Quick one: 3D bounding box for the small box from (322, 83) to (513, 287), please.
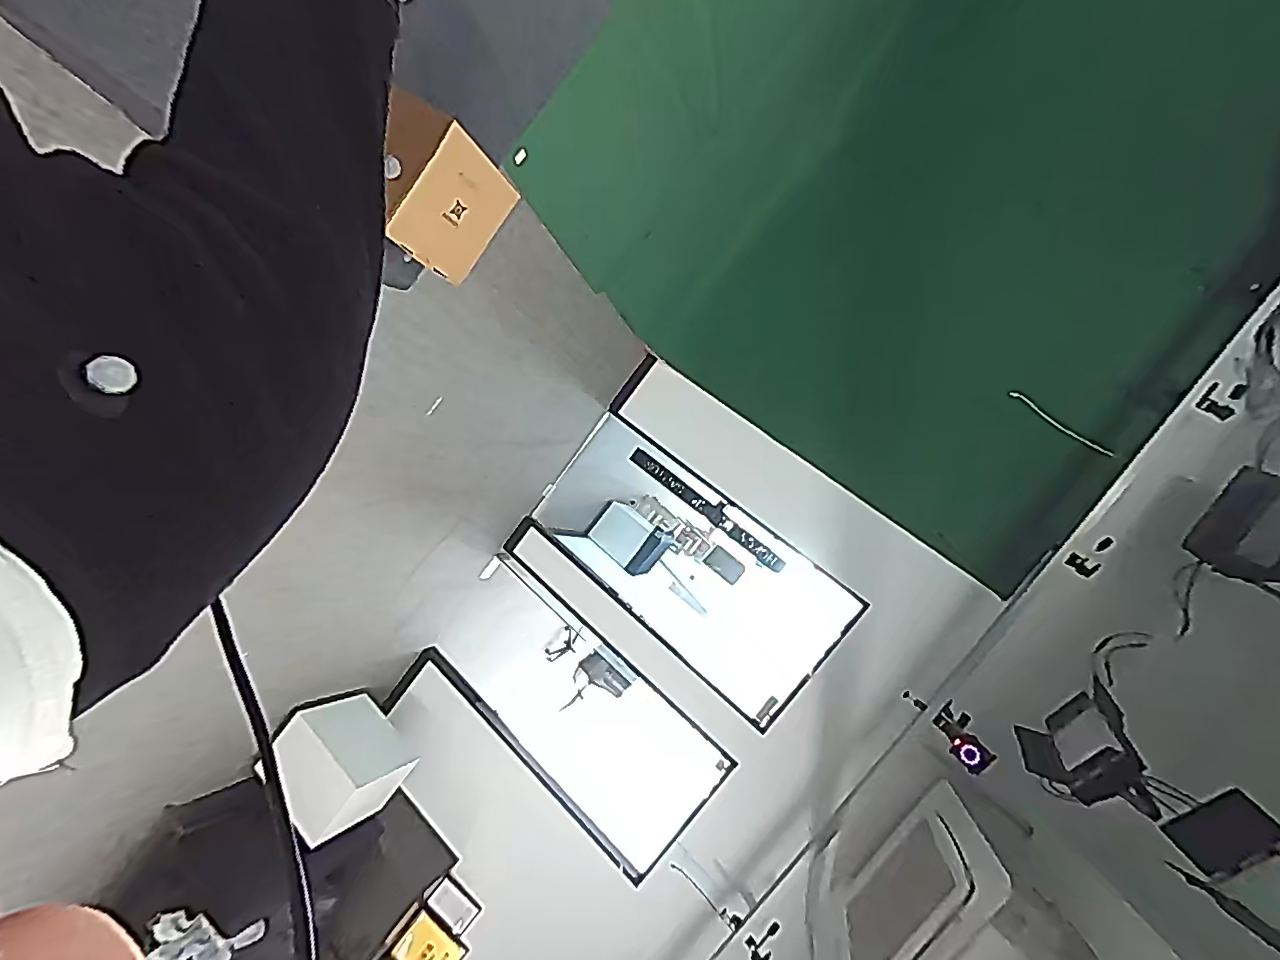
[{"bbox_3d":[-0.334,-0.434,0.809,0.179,0.176,0.168,-54,162,5],"label":"small box"}]
